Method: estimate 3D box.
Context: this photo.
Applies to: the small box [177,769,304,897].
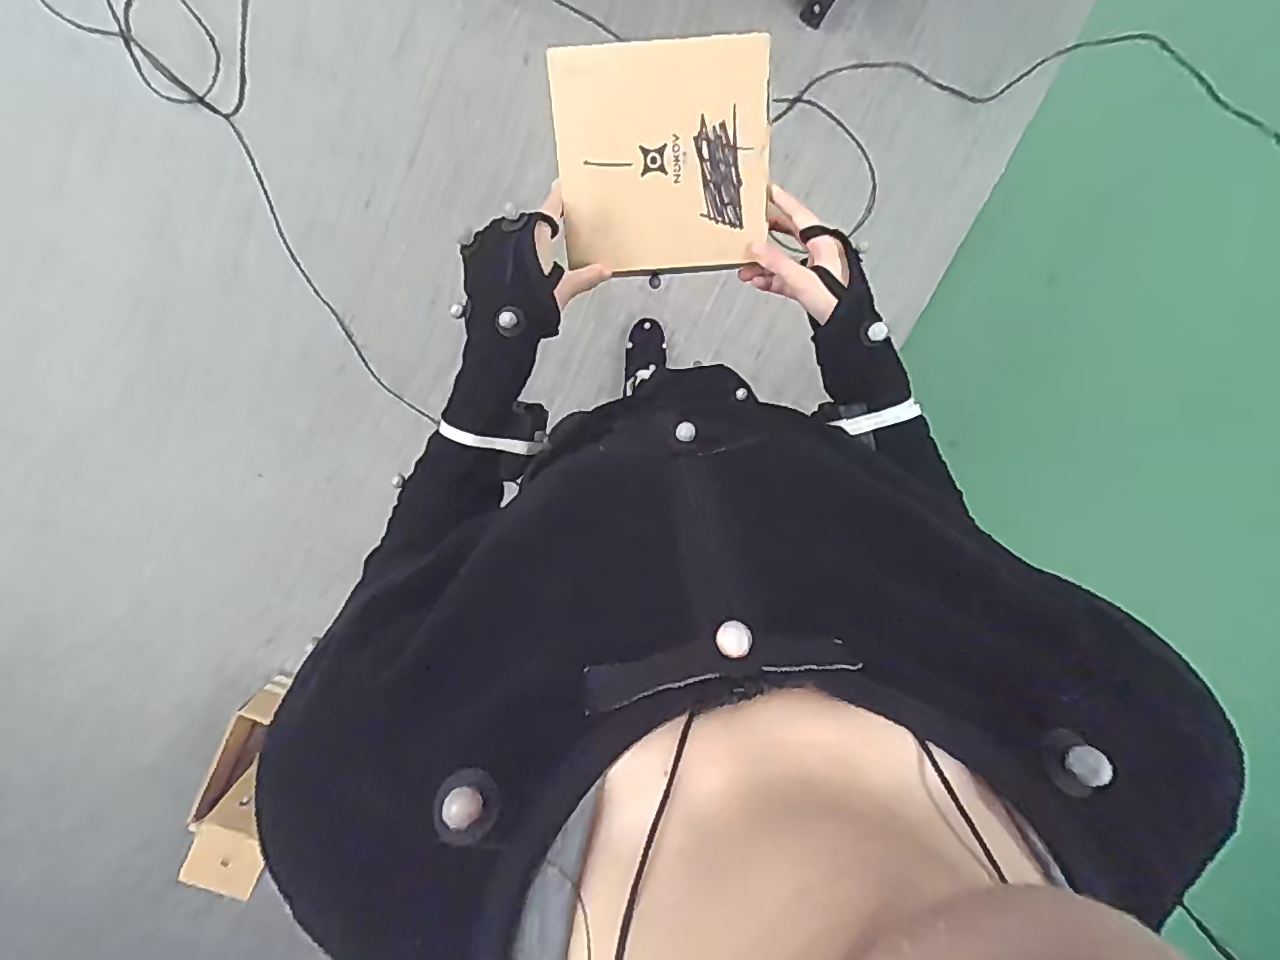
[{"bbox_3d":[-0.967,0.858,1.329,0.168,0.176,0.179,28,99,-9],"label":"small box"}]
